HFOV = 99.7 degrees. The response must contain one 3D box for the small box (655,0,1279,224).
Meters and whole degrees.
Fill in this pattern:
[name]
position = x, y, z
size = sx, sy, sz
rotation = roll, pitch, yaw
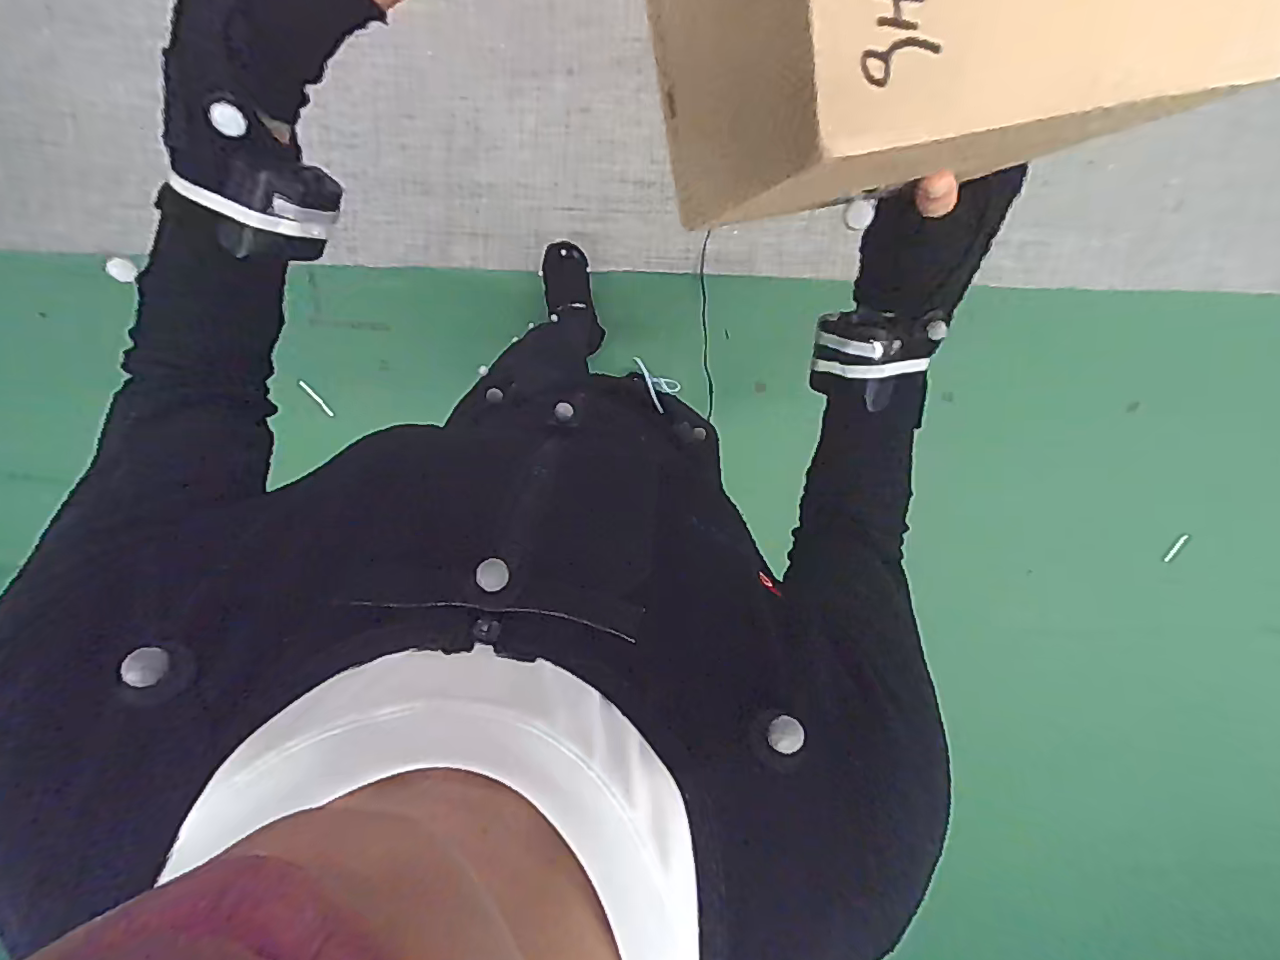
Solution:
[small box]
position = 0.111, -0.213, 0.220
size = 0.179, 0.176, 0.168
rotation = -13, 109, -7
